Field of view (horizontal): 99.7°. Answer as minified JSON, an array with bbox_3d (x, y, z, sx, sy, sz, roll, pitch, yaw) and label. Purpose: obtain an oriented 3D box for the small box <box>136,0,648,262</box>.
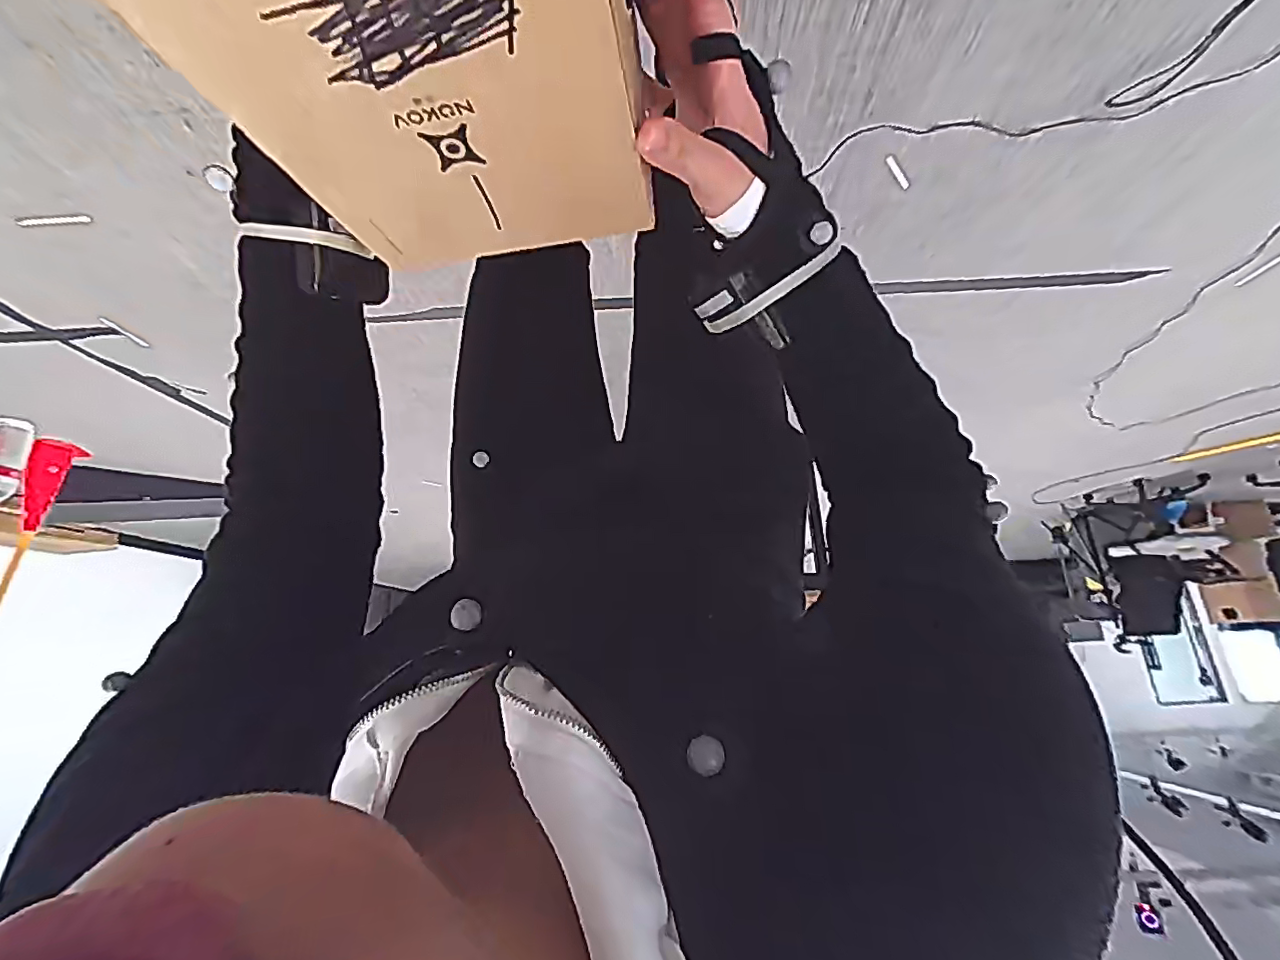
[{"bbox_3d":[-0.091,-0.239,0.260,0.168,0.176,0.179,-5,169,6],"label":"small box"}]
